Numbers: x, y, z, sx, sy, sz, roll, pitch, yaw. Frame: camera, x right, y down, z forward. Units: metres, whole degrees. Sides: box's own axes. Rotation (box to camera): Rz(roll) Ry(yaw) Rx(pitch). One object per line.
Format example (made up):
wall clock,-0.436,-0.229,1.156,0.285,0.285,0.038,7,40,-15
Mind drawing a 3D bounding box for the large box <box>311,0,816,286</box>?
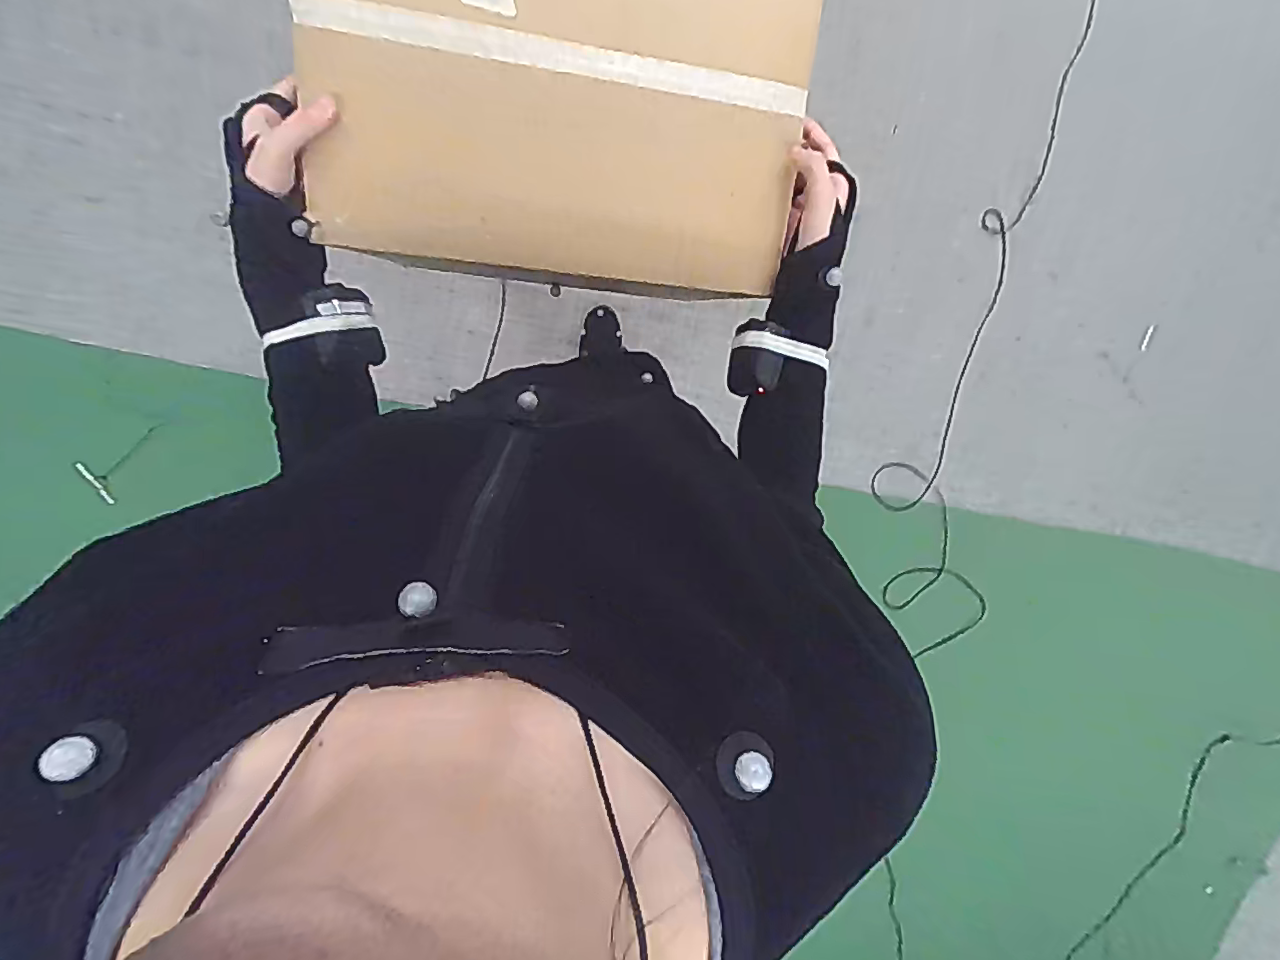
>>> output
large box,-0.076,-0.388,0.582,0.408,0.320,0.320,2,108,-11
